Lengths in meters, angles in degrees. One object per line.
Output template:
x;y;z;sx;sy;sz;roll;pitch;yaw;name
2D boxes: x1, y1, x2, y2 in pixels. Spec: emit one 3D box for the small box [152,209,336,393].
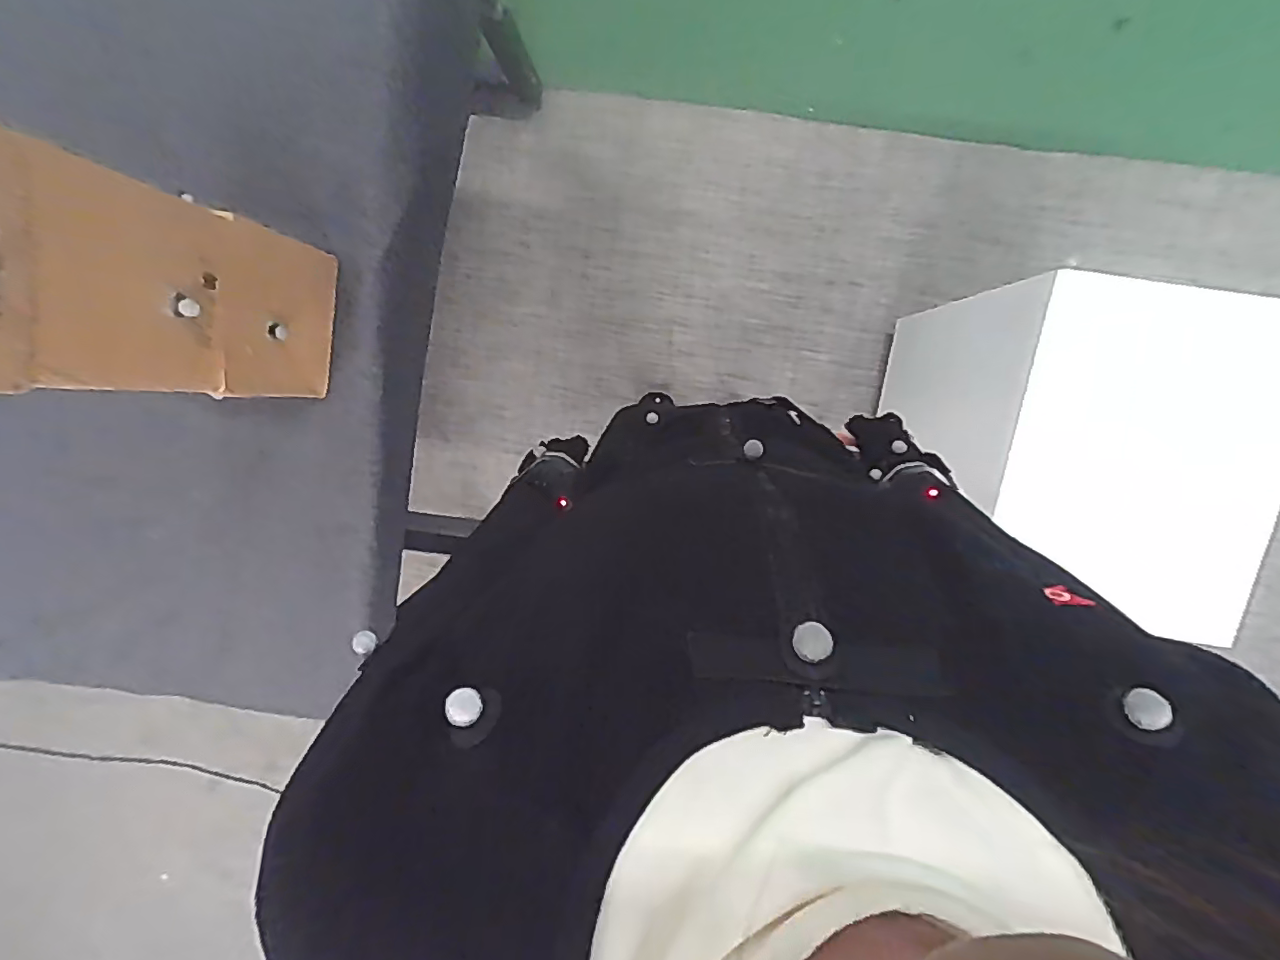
-0.473;-0.201;0.610;0.168;0.176;0.179;11;100;2;small box
